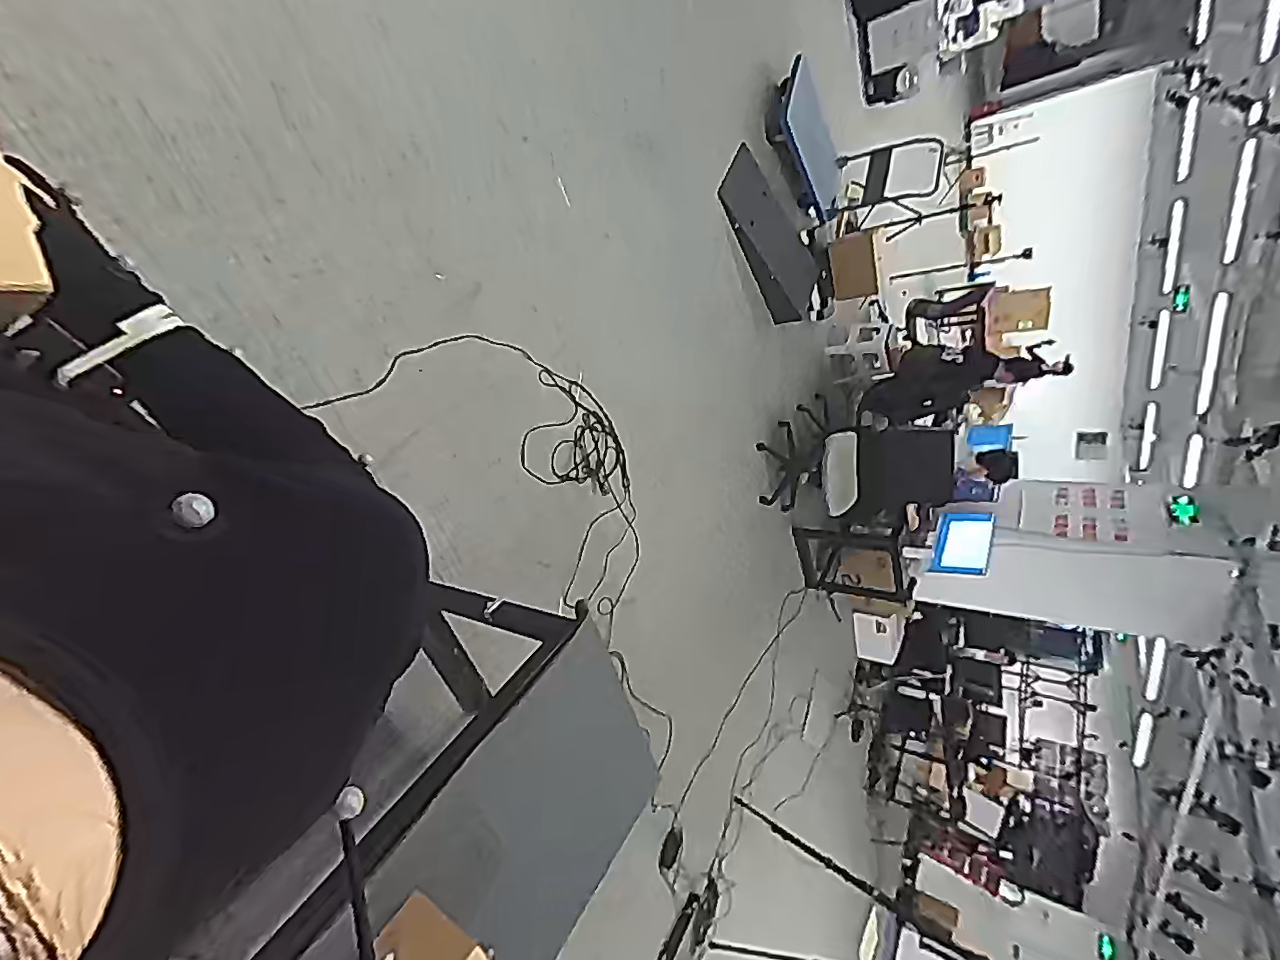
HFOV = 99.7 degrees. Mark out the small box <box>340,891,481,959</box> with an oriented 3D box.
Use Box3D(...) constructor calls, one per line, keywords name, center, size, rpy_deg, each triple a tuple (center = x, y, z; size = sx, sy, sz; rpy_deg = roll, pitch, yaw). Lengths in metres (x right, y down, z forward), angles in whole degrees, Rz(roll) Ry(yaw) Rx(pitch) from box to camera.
Box3D(name="small box", center=(-0.346, 0.786, 0.828), size=(0.168, 0.176, 0.179), rpy_deg=(-43, 126, -44))
